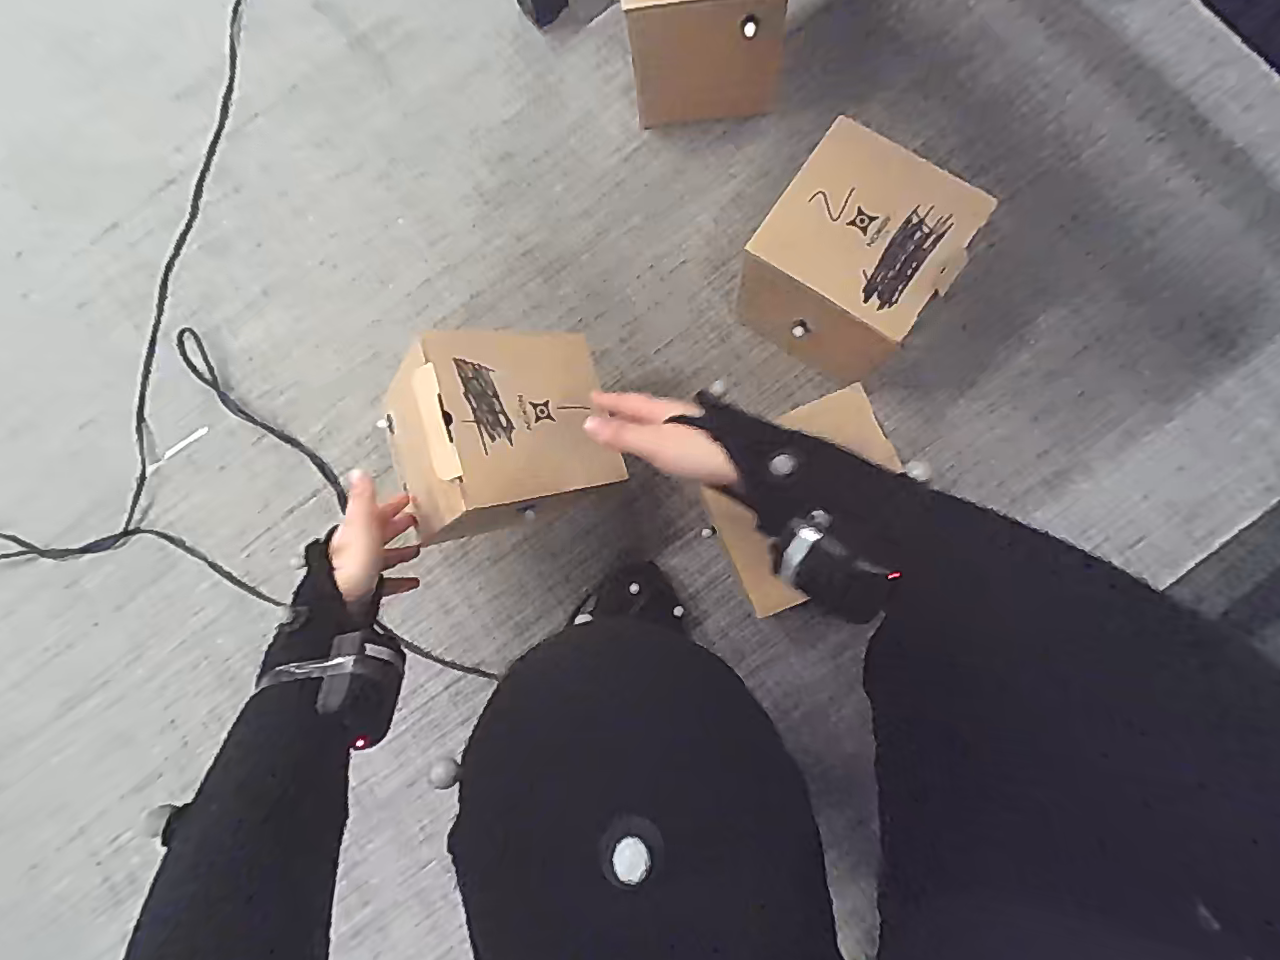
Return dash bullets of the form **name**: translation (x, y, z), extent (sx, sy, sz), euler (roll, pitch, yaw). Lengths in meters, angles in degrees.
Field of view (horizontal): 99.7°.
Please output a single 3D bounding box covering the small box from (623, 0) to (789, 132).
- **small box**: translation (0.074, -0.553, 0.648), extent (0.179, 0.176, 0.168), euler (-4, 83, 4)
